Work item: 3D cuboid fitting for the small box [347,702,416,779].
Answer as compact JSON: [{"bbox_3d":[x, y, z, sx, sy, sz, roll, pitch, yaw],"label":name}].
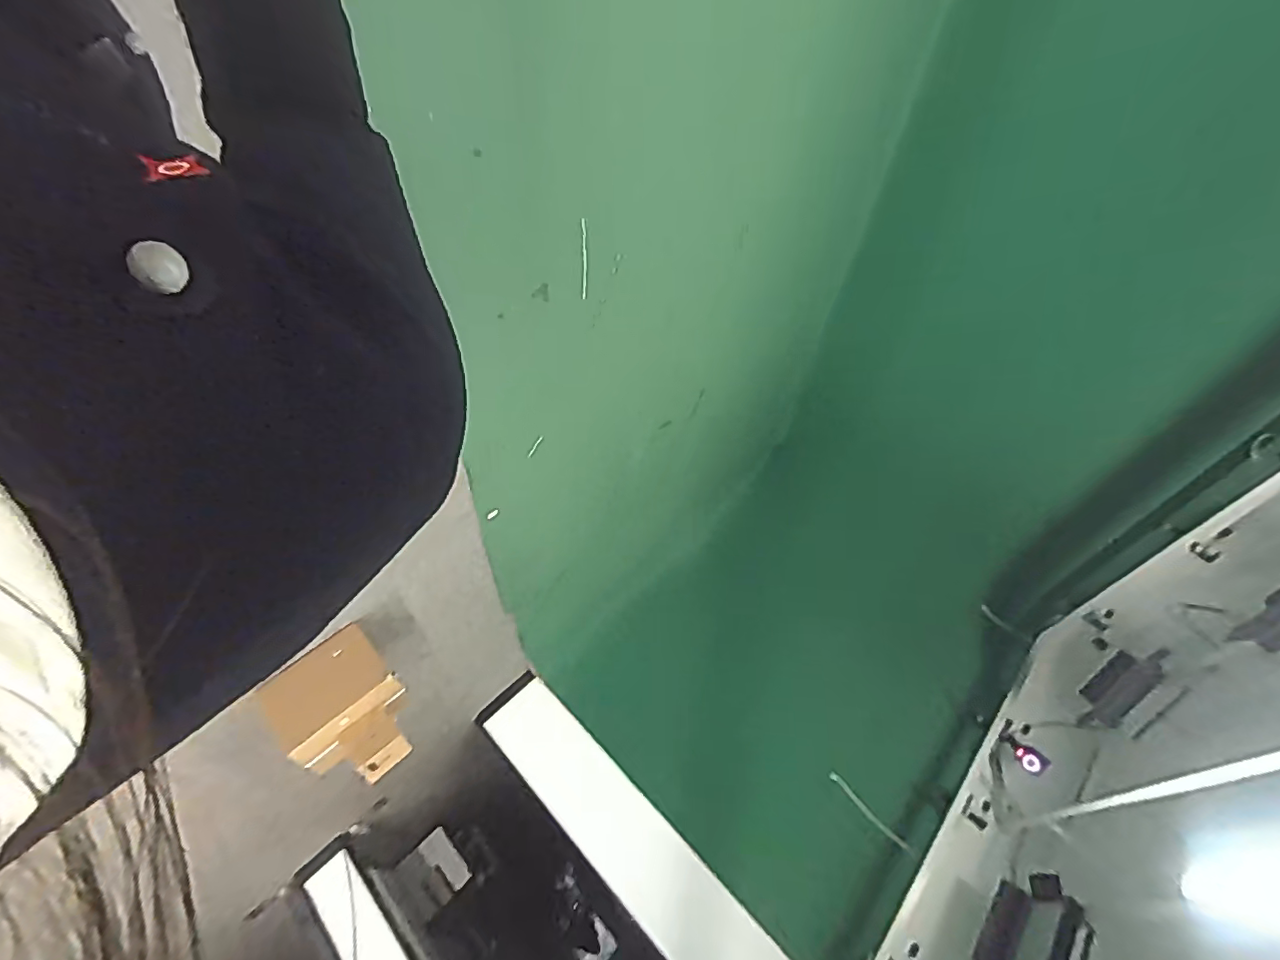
[{"bbox_3d":[-0.999,0.999,2.081,0.179,0.176,0.168,-34,146,-35],"label":"small box"}]
